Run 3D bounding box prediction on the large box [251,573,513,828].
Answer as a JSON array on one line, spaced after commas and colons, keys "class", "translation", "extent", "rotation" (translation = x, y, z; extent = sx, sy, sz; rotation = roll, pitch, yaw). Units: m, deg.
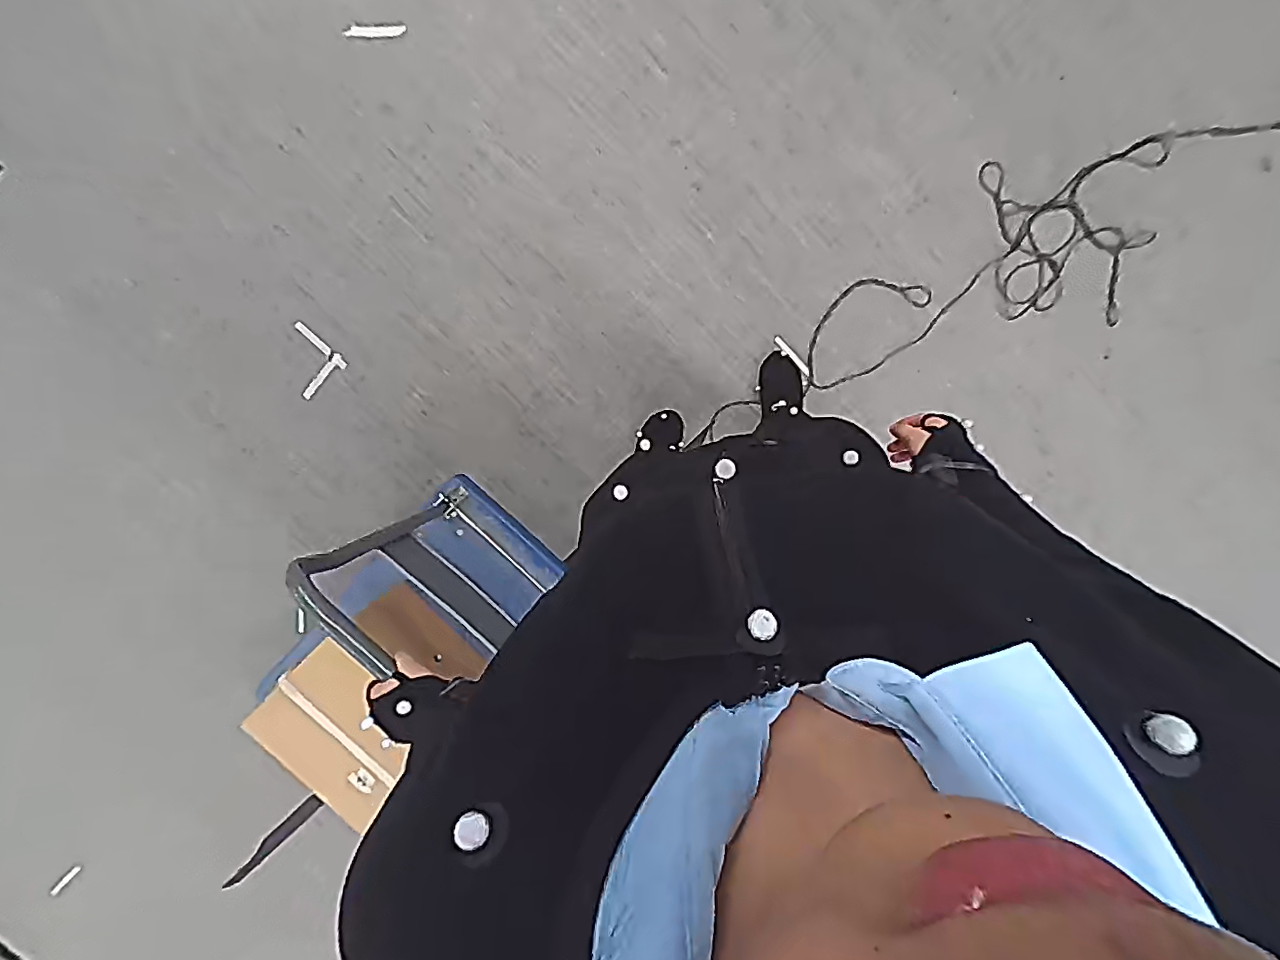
[{"class": "large box", "translation": [-0.581, 0.500, 1.295], "extent": [0.320, 0.320, 0.408], "rotation": [-43, 96, 9]}]
